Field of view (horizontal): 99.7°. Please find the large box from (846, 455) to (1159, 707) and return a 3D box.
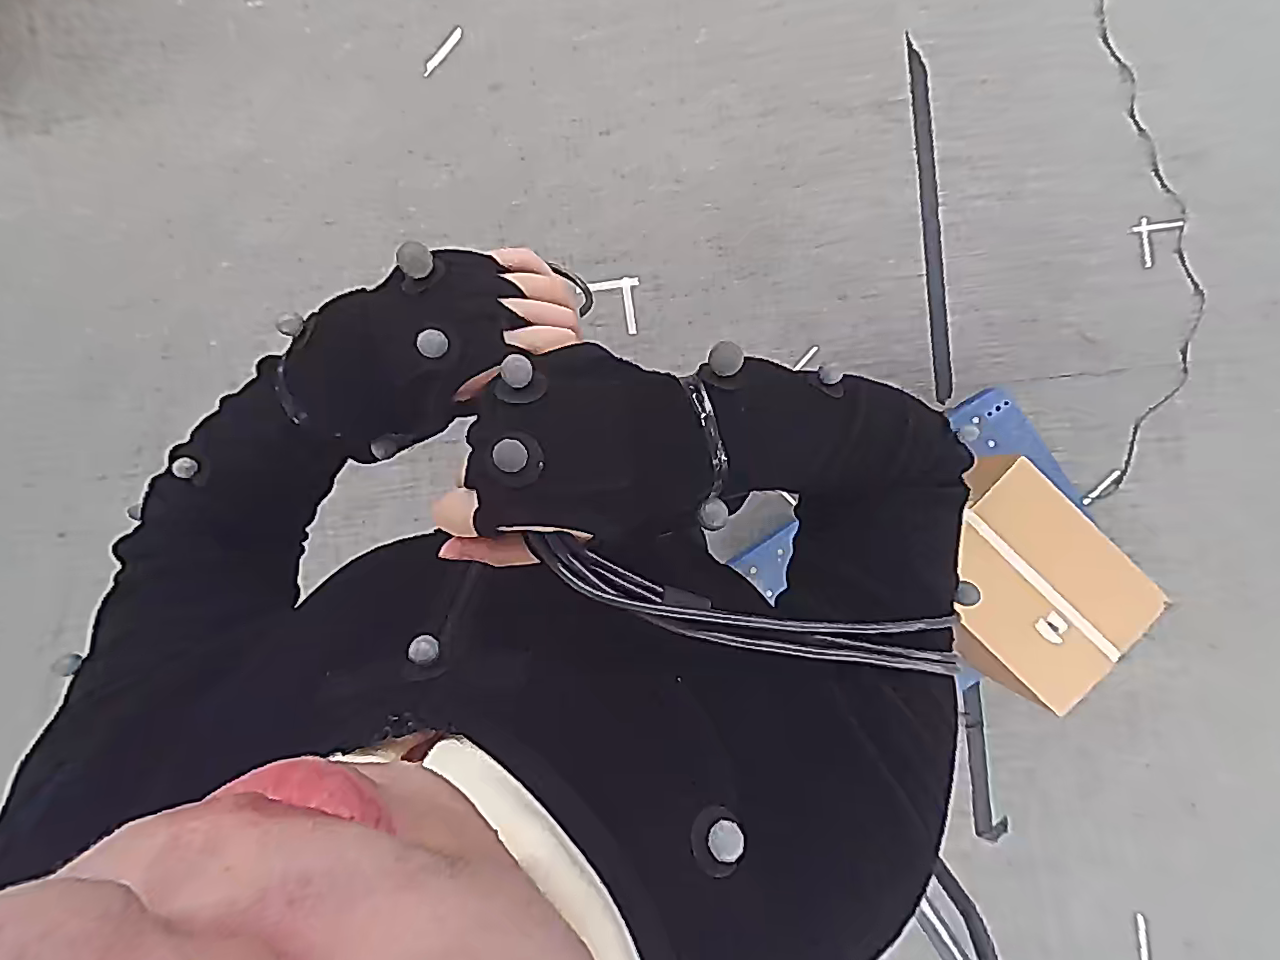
[{"bbox_3d":[0.744,0.191,1.176,0.408,0.320,0.320,44,90,-1],"label":"large box"}]
